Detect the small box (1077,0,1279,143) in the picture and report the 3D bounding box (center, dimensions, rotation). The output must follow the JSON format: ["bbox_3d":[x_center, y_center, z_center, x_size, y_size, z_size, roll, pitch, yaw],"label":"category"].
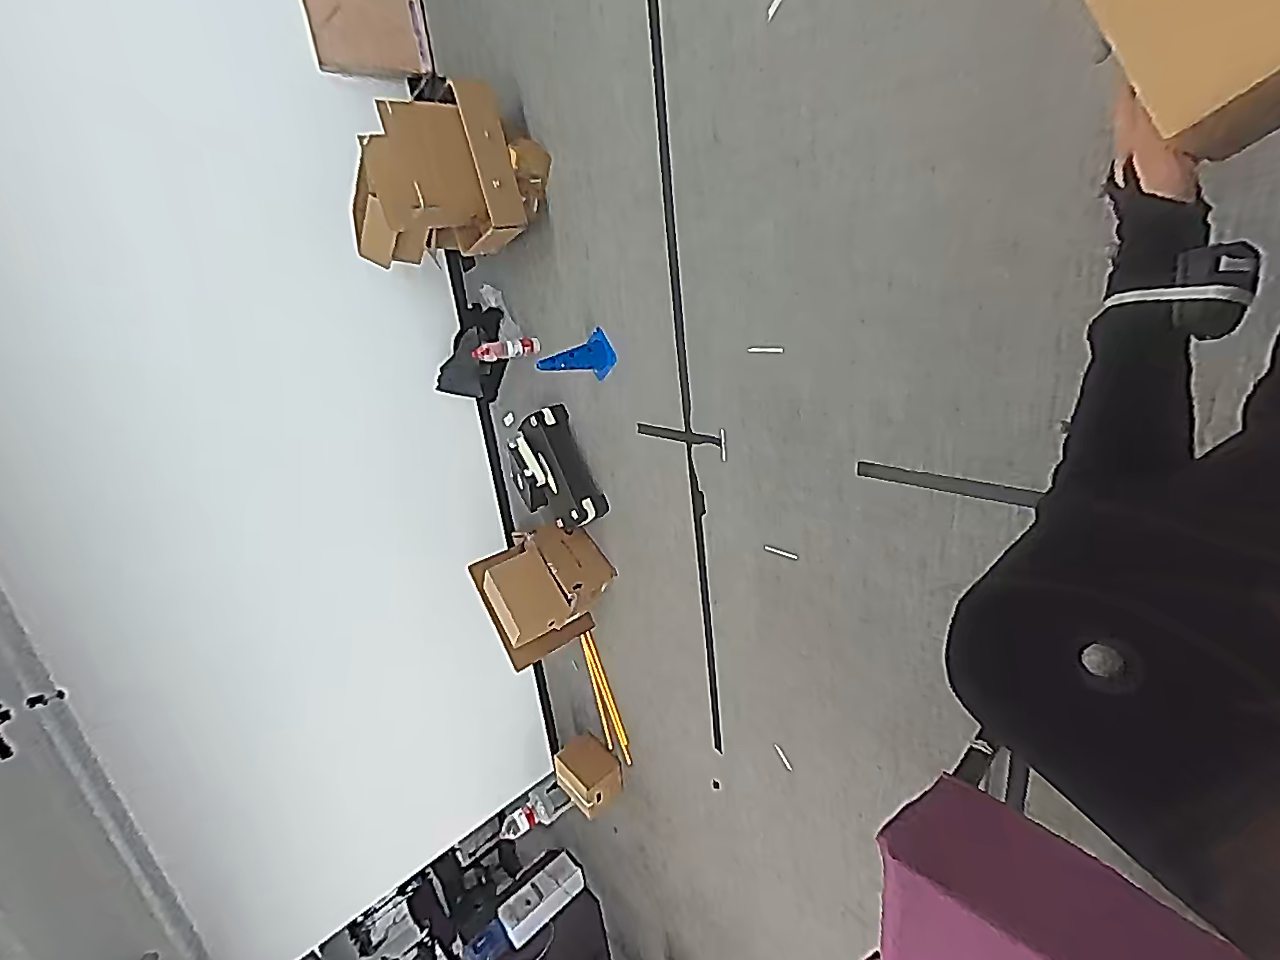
[{"bbox_3d":[0.415,-0.349,0.346,0.168,0.176,0.179,-32,76,56],"label":"small box"}]
